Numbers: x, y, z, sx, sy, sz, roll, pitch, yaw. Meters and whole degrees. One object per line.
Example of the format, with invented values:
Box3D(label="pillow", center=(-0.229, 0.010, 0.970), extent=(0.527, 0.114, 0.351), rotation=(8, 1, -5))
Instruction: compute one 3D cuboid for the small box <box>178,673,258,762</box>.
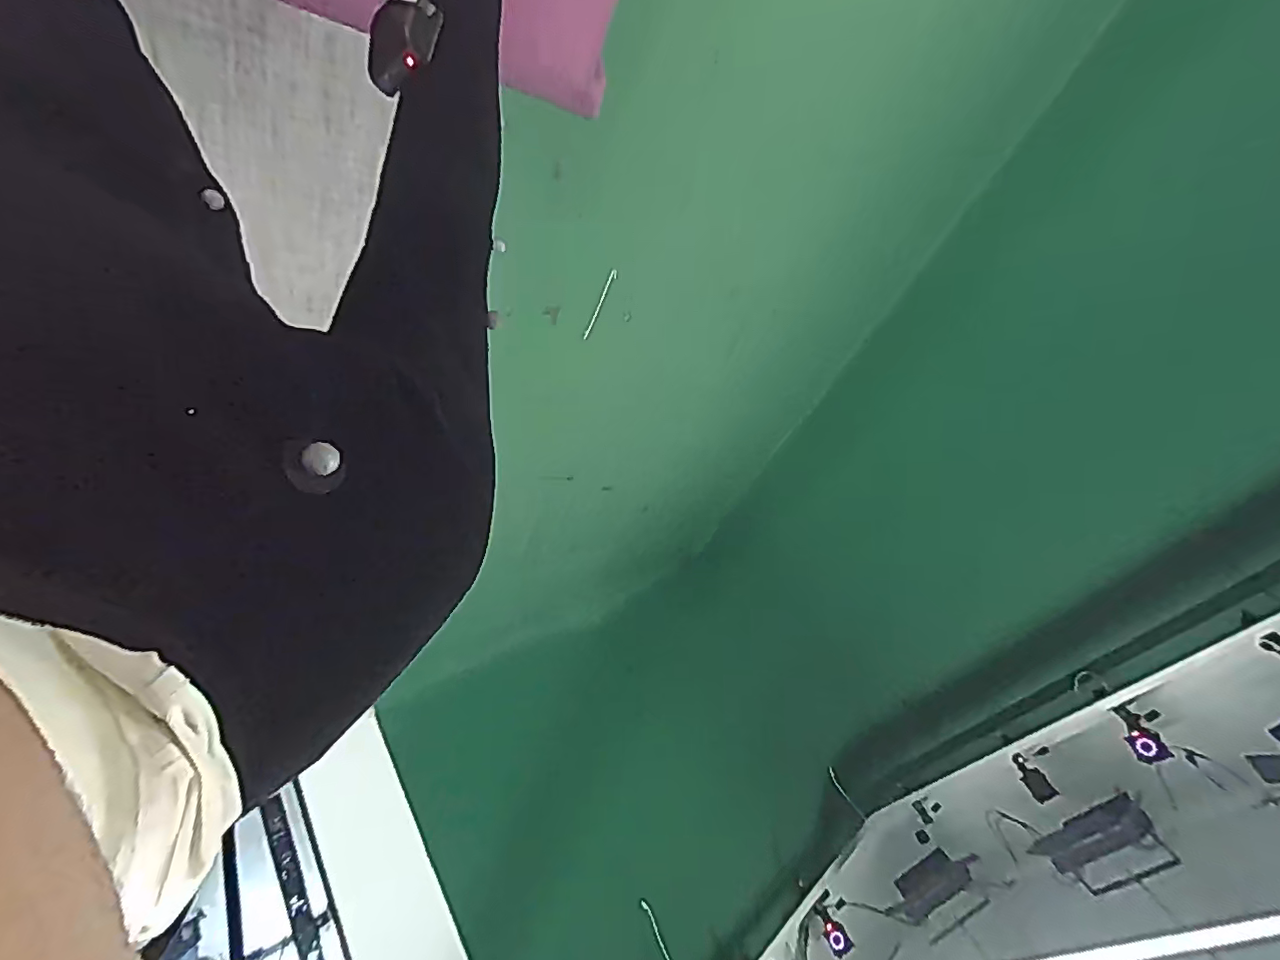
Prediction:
Box3D(label="small box", center=(-1.319, 0.735, 1.686), extent=(0.168, 0.176, 0.179), rotation=(-3, 137, -48))

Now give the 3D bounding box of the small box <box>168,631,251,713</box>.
Box3D(label="small box", center=(-1.405, 0.617, 1.761), extent=(0.179, 0.176, 0.168), rotation=(-1, 136, -49))

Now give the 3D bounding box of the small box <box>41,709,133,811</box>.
Box3D(label="small box", center=(-1.507, 0.750, 1.472), extent=(0.168, 0.176, 0.179), rotation=(-3, 138, -48))
